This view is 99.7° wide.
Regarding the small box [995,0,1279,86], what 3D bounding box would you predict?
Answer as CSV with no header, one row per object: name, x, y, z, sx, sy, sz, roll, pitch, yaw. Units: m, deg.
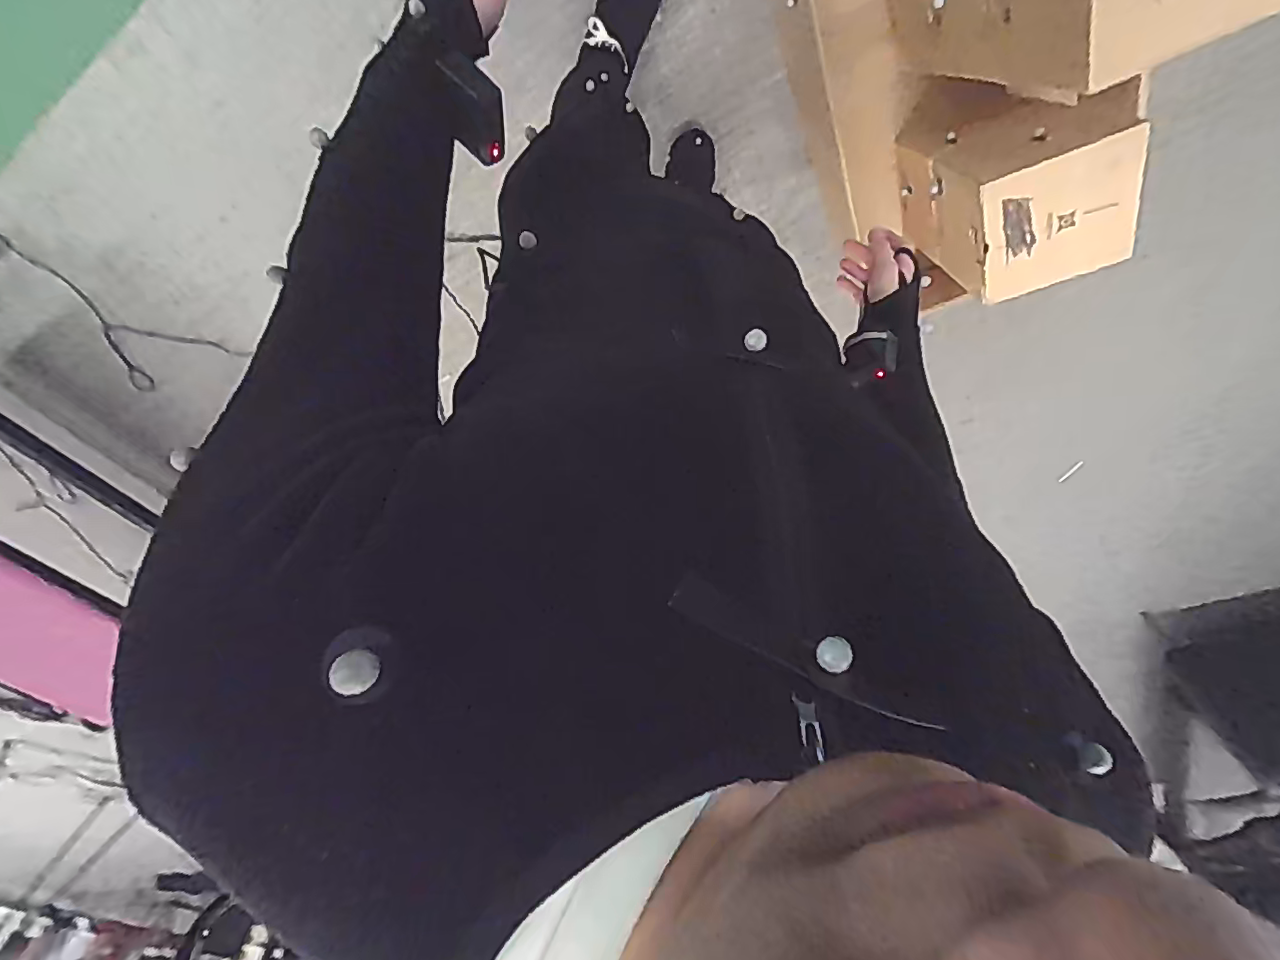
small box,0.424,-0.461,0.442,0.179,0.176,0.168,-18,126,17

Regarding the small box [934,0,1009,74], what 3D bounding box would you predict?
small box,0.431,-0.565,0.566,0.179,0.176,0.168,-18,126,17

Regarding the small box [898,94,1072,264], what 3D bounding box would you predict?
small box,0.531,-0.476,0.850,0.179,0.176,0.168,-17,127,17

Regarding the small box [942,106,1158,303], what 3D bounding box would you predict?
small box,0.524,-0.370,0.724,0.179,0.176,0.168,-17,127,16
